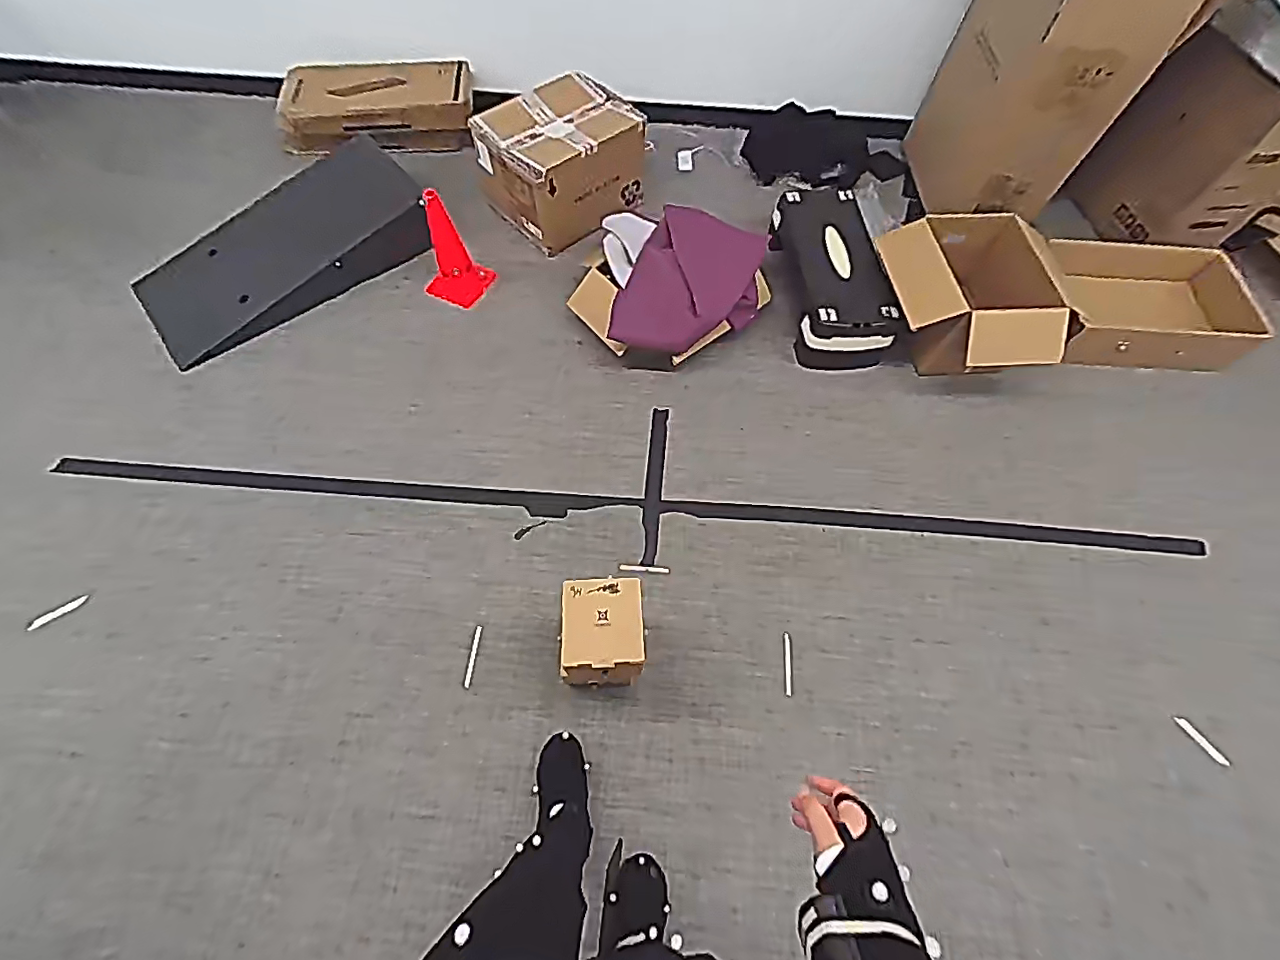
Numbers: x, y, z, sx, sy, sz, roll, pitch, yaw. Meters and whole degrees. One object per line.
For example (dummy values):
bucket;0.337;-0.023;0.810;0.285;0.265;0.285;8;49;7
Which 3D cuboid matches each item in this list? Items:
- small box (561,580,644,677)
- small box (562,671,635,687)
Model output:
small box;-0.076;0.326;1.166;0.168;0.176;0.179;-2;63;-2
small box;-0.097;0.400;1.312;0.168;0.176;0.179;-2;64;-1
